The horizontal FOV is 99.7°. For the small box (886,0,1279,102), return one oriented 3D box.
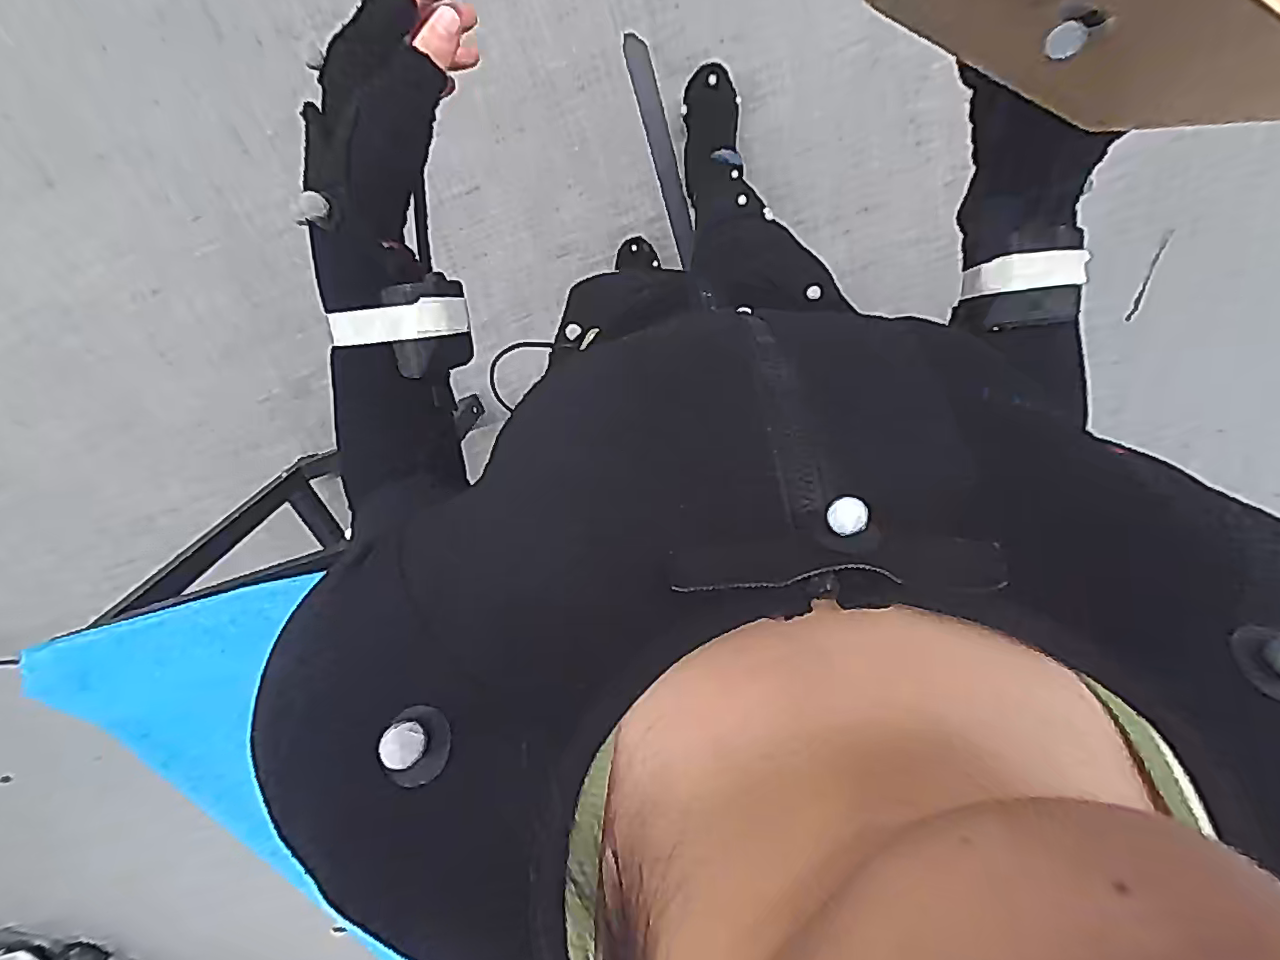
[{"bbox_3d":[0.233,-0.278,0.215,0.179,0.176,0.168,16,119,-10],"label":"small box"}]
